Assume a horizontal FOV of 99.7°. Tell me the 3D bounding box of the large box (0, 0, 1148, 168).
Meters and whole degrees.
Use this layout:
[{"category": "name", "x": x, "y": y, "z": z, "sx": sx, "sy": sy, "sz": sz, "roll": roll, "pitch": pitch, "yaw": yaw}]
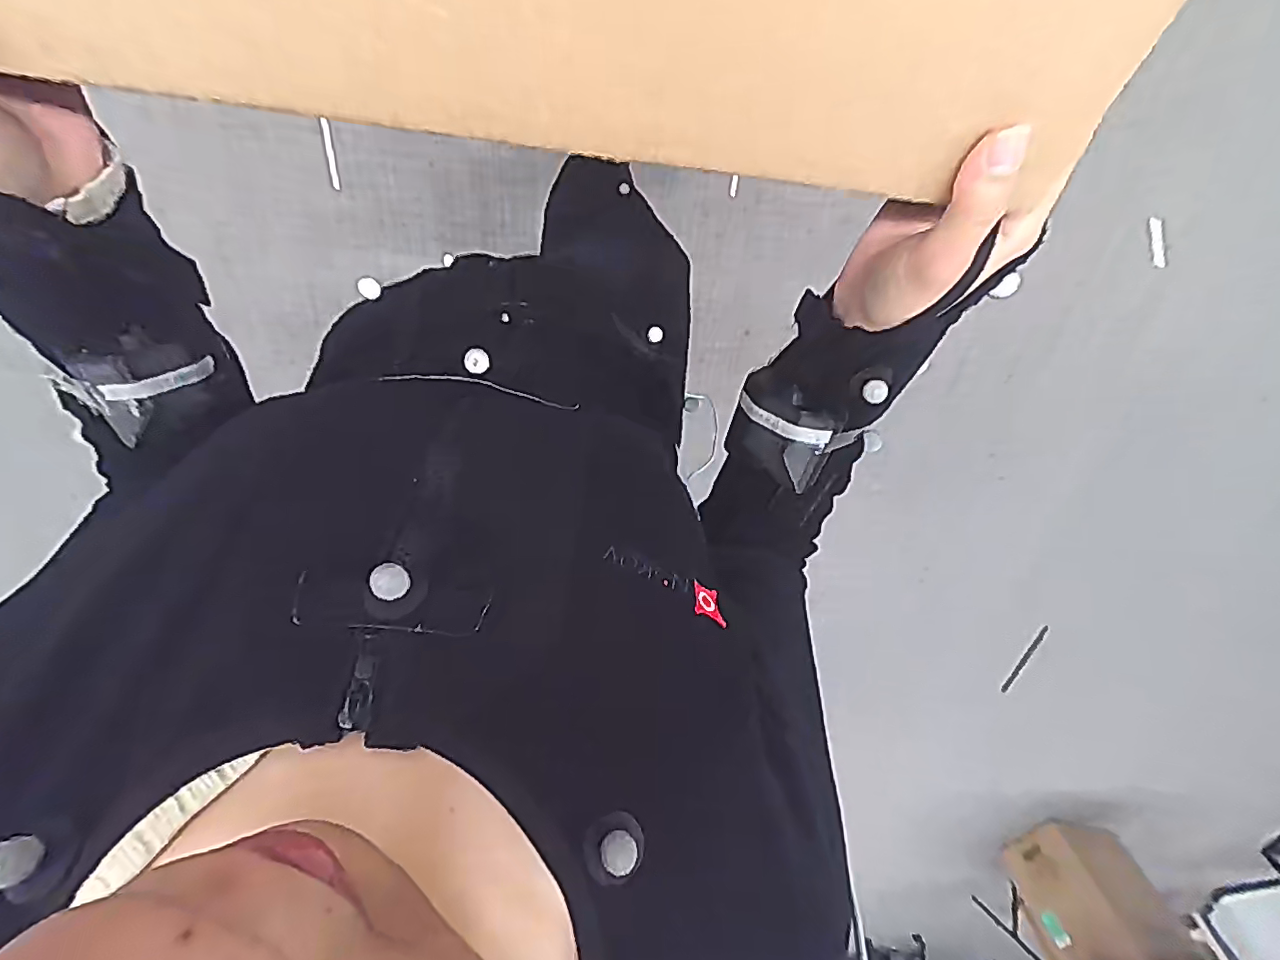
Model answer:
[{"category": "large box", "x": -0.024, "y": -0.344, "z": 0.170, "sx": 0.408, "sy": 0.320, "sz": 0.320, "roll": 3, "pitch": 143, "yaw": -7}]
